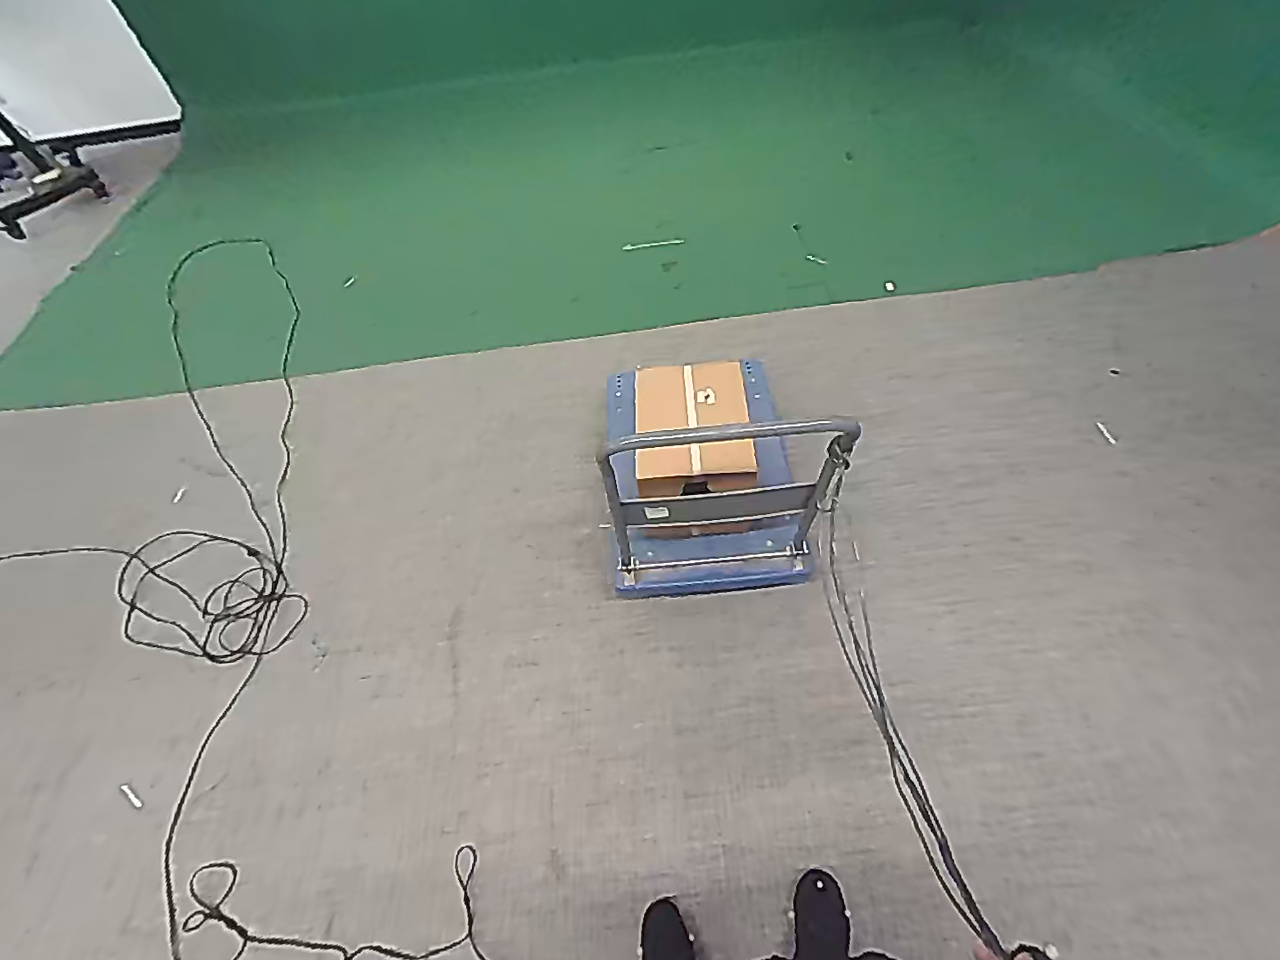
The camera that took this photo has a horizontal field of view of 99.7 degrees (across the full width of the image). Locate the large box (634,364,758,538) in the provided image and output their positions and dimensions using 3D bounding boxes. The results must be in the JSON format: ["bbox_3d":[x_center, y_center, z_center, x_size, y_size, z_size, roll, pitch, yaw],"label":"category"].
[{"bbox_3d":[0.153,-0.082,1.595,0.320,0.320,0.408,-3,54,3],"label":"large box"}]
